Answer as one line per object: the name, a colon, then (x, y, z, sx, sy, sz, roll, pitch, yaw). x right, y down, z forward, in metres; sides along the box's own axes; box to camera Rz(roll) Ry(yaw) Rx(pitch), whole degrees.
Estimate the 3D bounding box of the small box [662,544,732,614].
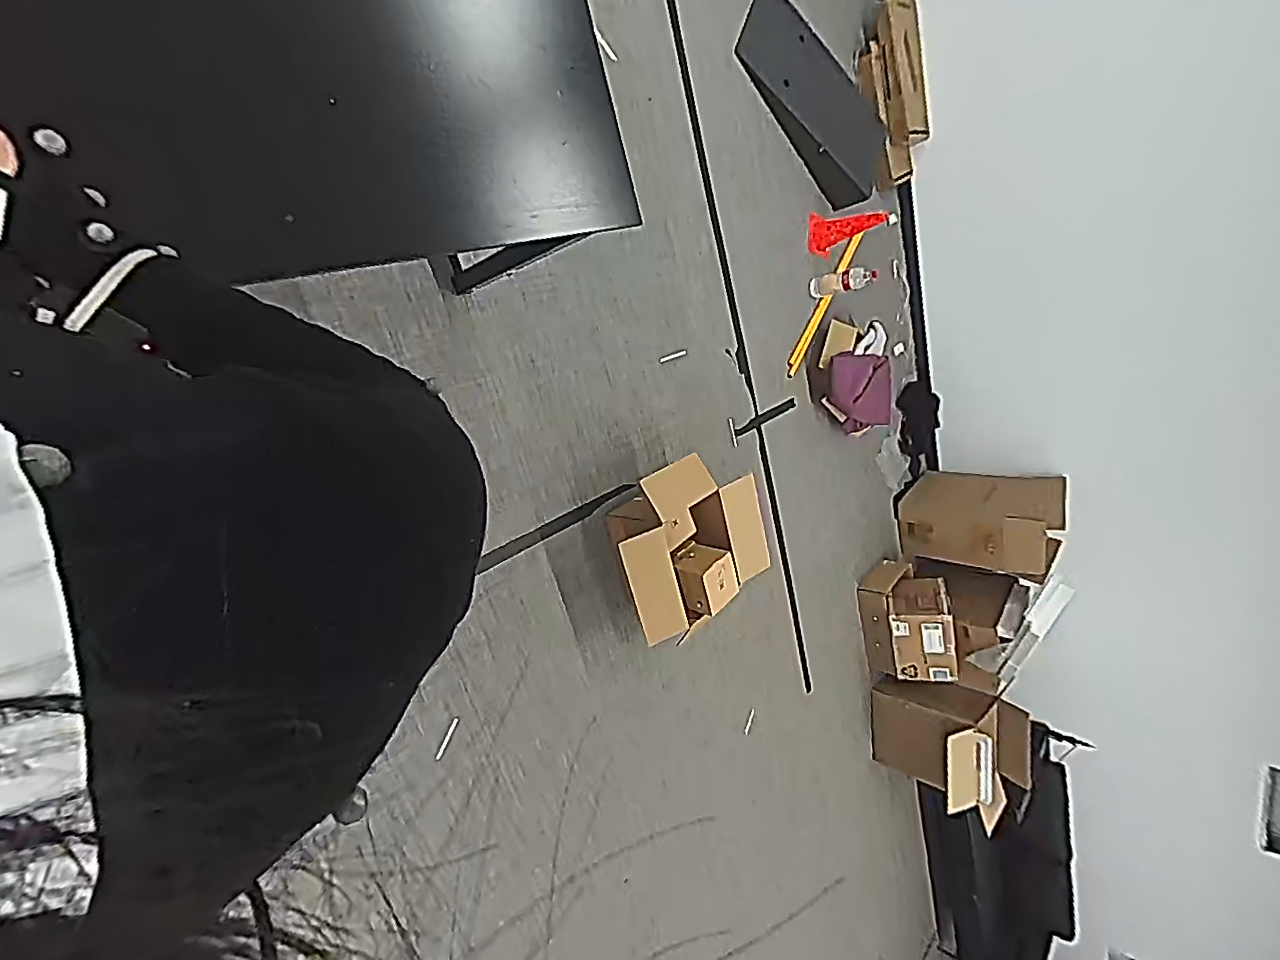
small box: (0.205, 0.351, 1.954, 0.168, 0.176, 0.179, -32, 115, -37)
